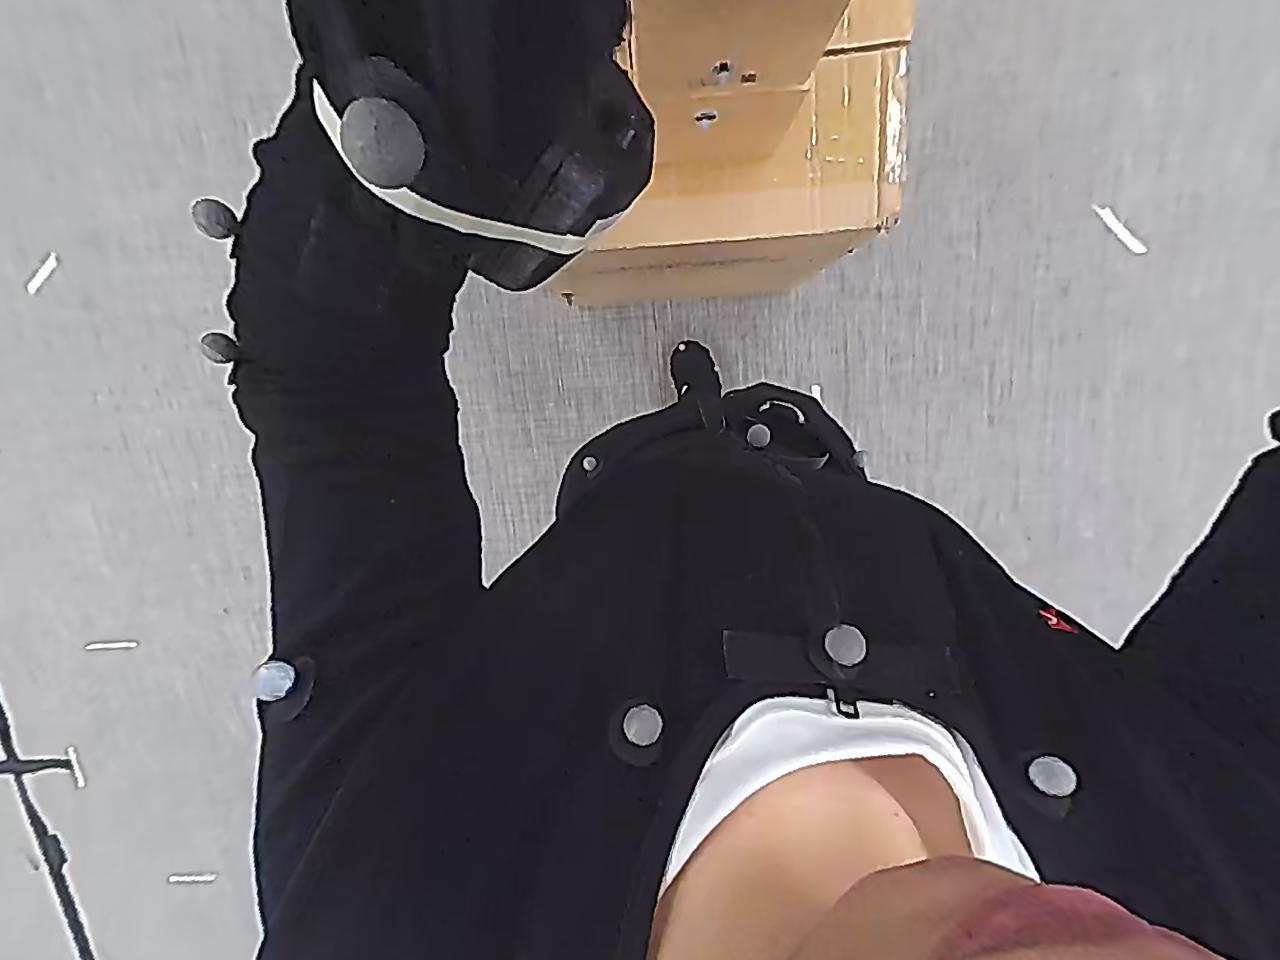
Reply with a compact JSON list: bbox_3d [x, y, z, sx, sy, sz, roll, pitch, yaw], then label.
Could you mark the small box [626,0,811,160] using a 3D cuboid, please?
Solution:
[{"bbox_3d":[0.077,-0.469,0.587,0.179,0.176,0.168,-3,102,2],"label":"small box"}]
